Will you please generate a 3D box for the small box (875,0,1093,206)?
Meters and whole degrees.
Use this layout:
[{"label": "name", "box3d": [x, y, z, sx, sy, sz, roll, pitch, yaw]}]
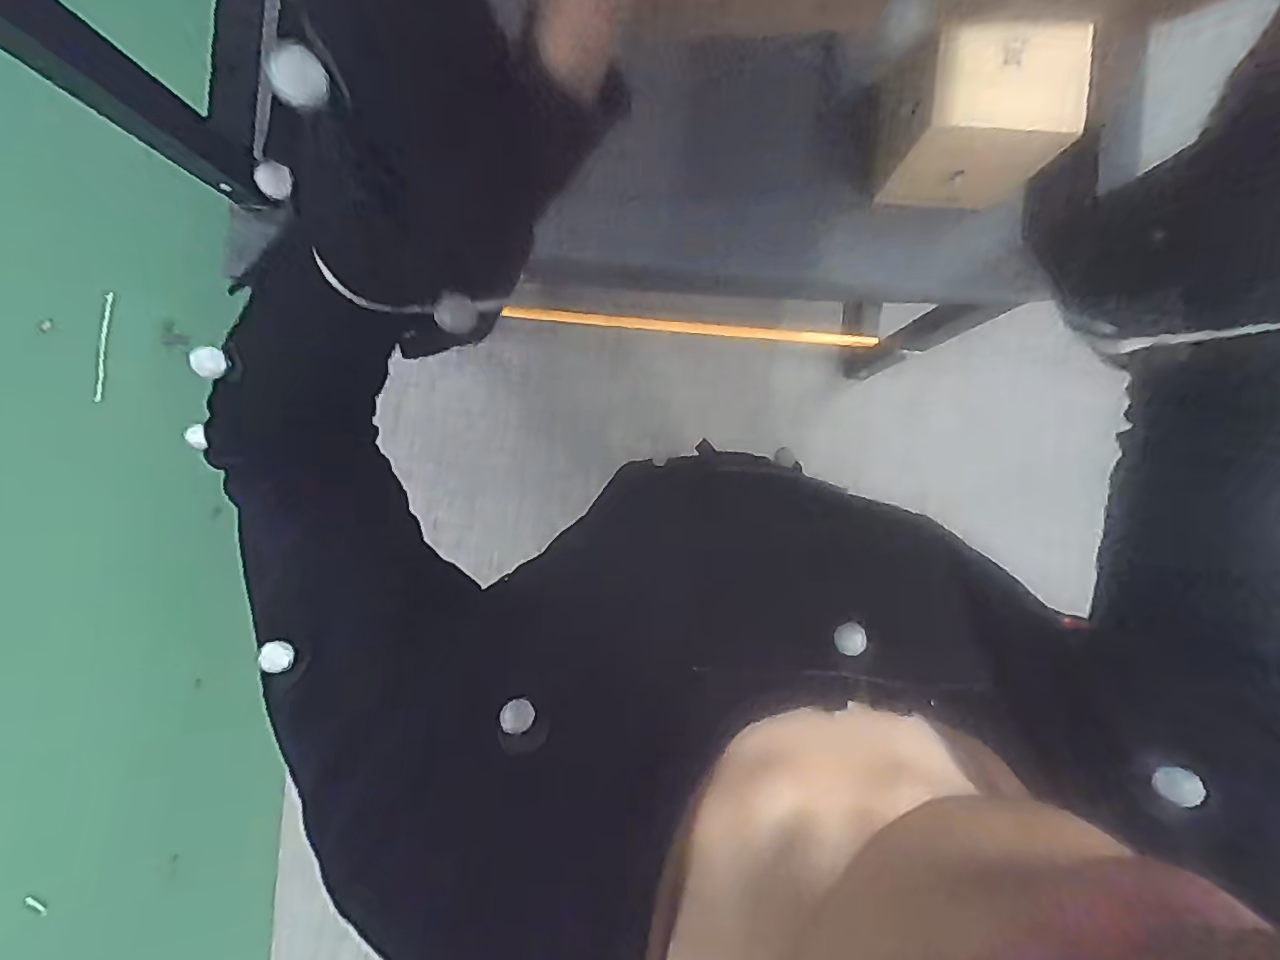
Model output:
[{"label": "small box", "box3d": [0.410, -0.468, 0.673, 0.168, 0.176, 0.179, 5, 89, 2]}]
